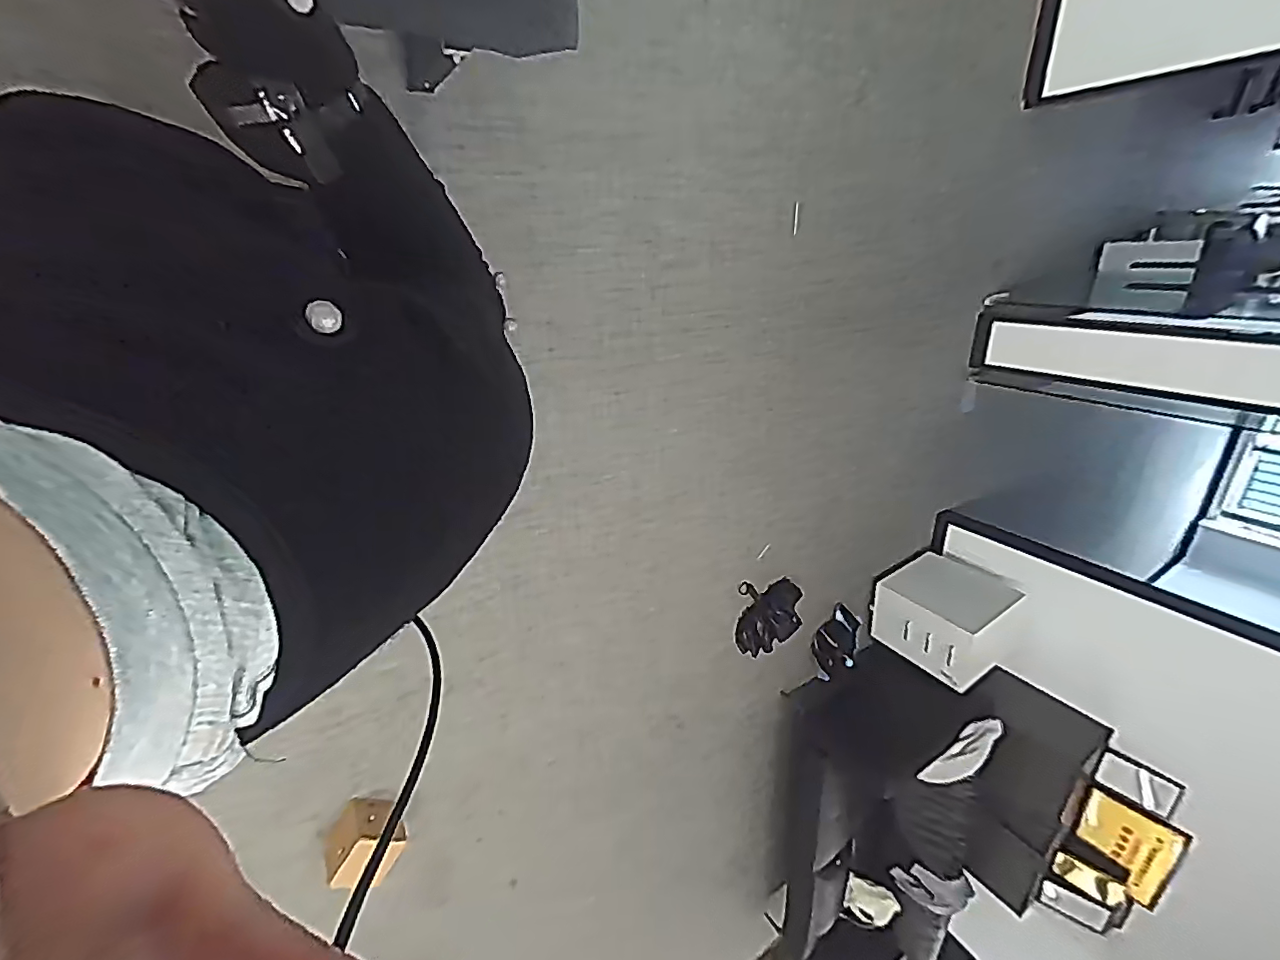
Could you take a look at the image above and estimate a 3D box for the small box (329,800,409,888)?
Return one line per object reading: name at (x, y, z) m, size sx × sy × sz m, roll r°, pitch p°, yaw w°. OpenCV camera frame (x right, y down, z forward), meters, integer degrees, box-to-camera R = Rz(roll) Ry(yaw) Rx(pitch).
small box at (-0.891, 1.182, 1.764) m, size 0.168 × 0.176 × 0.179 m, roll 34°, pitch 88°, yaw -39°
